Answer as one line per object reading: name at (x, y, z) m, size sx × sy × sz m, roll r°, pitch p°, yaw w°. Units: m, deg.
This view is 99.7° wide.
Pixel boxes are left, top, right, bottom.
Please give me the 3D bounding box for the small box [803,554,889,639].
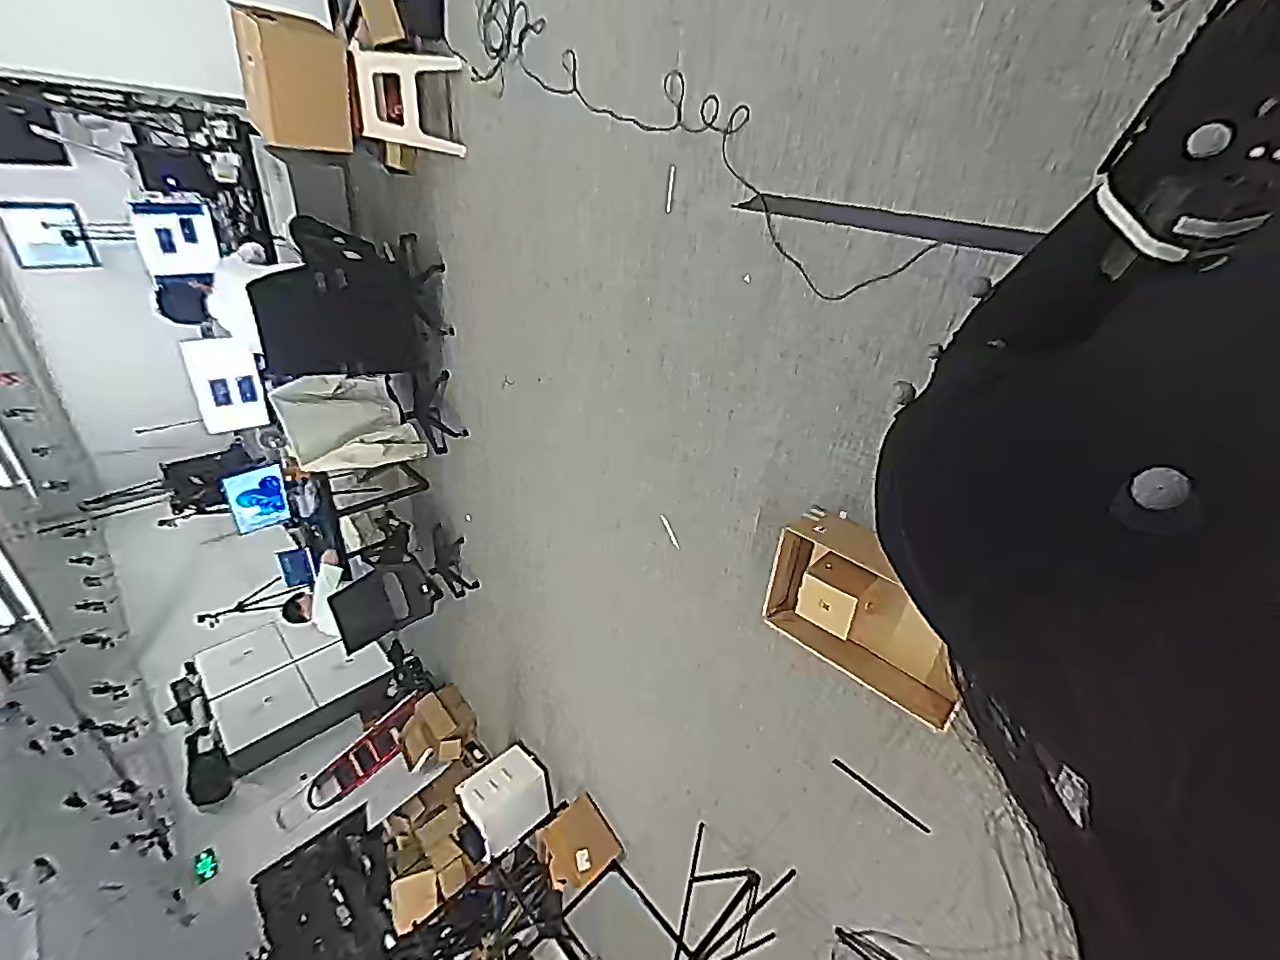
small box at (0.638, 0.351, 1.677) m, size 0.179 × 0.176 × 0.168 m, roll 25°, pitch 126°, yaw 37°
